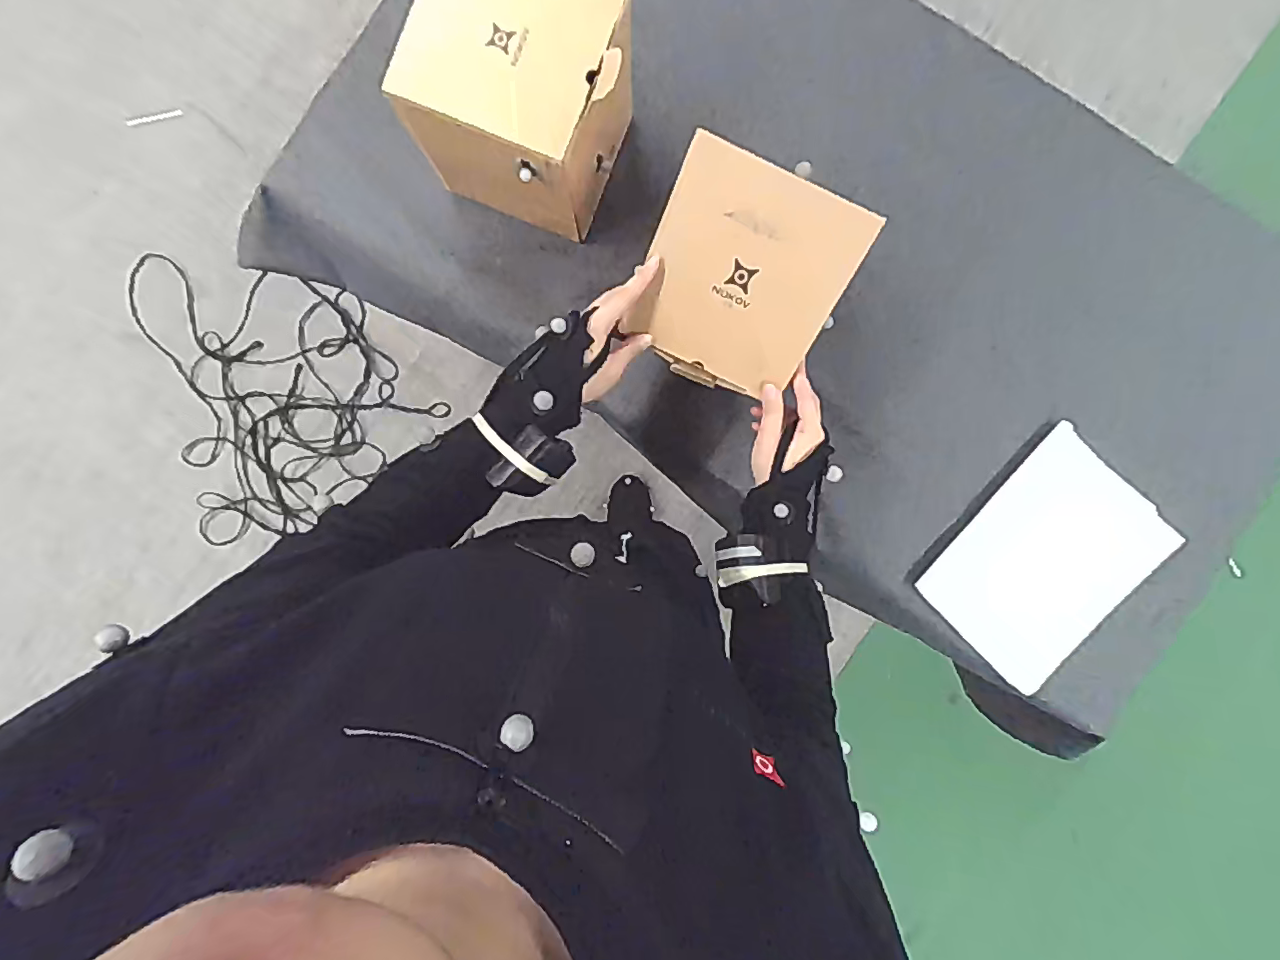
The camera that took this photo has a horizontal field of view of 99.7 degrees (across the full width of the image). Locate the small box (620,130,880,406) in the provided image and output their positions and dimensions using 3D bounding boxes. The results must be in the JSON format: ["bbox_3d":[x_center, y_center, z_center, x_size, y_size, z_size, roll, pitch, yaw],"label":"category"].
[{"bbox_3d":[0.100,-0.206,0.530,0.168,0.176,0.179,25,120,-2],"label":"small box"}]

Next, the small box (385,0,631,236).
[{"bbox_3d":[-0.118,-0.384,0.558,0.179,0.176,0.168,21,90,-1],"label":"small box"}]
